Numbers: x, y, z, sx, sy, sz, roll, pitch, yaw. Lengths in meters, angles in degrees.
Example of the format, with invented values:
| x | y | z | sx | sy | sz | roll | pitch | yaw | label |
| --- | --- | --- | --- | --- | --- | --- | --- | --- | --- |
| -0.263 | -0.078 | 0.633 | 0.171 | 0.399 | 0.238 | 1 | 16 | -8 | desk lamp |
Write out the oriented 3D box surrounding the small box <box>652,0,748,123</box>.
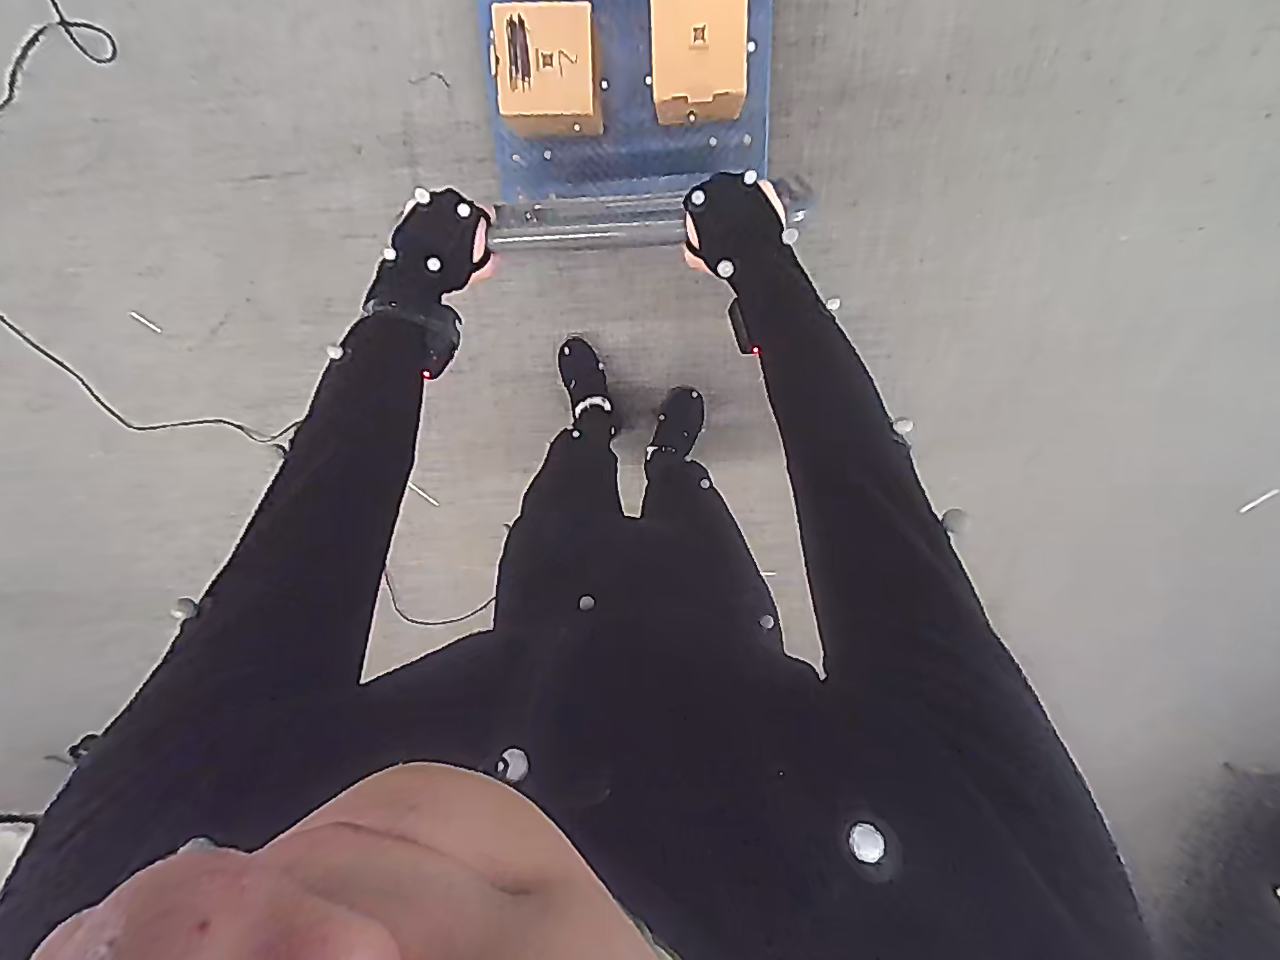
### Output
| x | y | z | sx | sy | sz | roll | pitch | yaw | label |
| --- | --- | --- | --- | --- | --- | --- | --- | --- | --- |
| 0.107 | -0.793 | 1.006 | 0.168 | 0.176 | 0.179 | -2 | 112 | 4 | small box |
